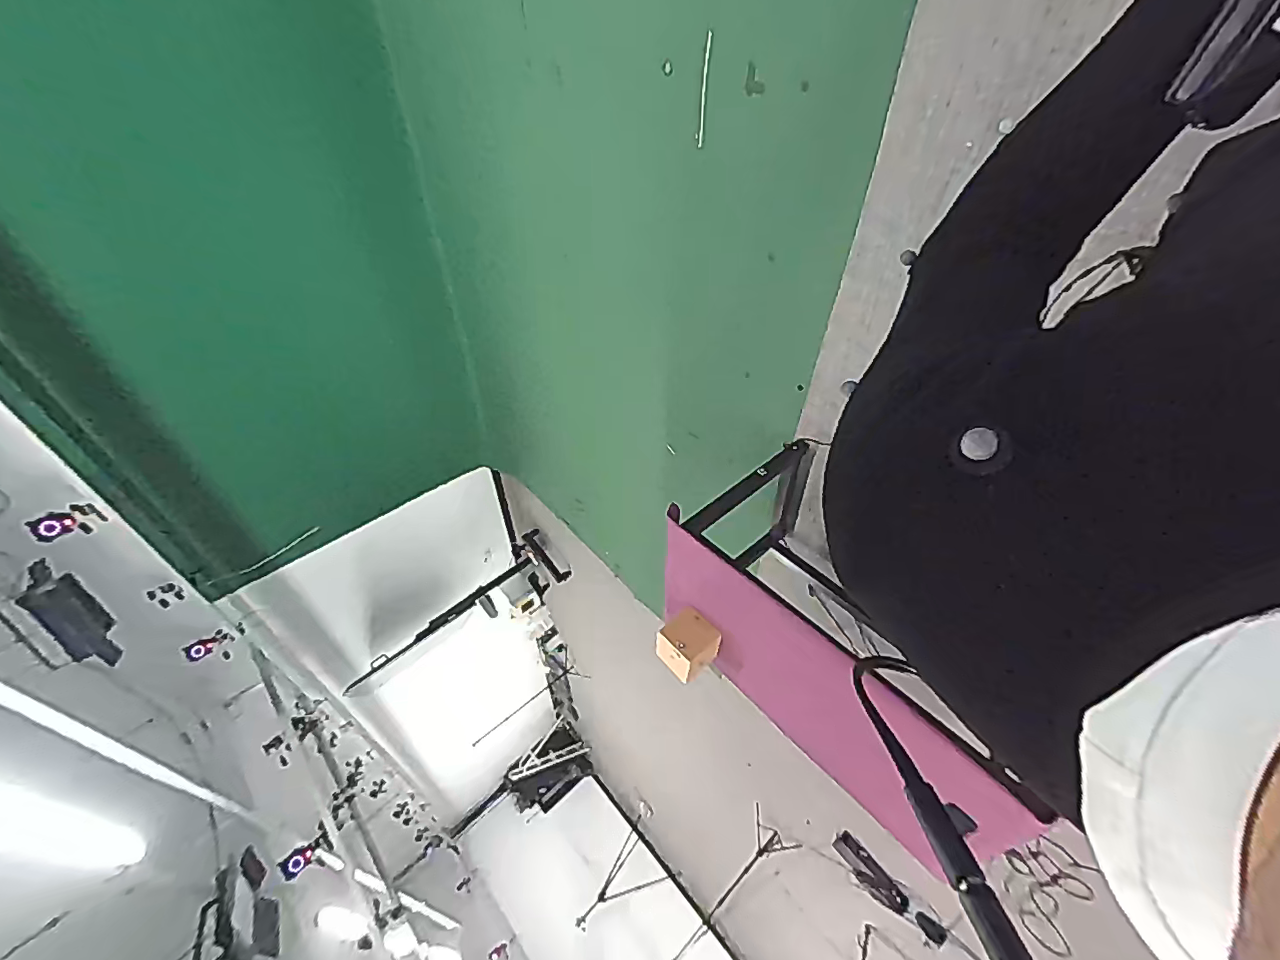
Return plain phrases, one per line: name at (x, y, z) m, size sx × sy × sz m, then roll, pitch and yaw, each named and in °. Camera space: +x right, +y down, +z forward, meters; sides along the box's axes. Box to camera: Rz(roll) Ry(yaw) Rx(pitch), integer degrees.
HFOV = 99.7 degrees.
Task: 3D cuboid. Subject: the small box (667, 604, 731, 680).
small box at (0.217, 0.597, 2.004) m, size 0.168 × 0.176 × 0.179 m, roll 38°, pitch 147°, yaw 31°
